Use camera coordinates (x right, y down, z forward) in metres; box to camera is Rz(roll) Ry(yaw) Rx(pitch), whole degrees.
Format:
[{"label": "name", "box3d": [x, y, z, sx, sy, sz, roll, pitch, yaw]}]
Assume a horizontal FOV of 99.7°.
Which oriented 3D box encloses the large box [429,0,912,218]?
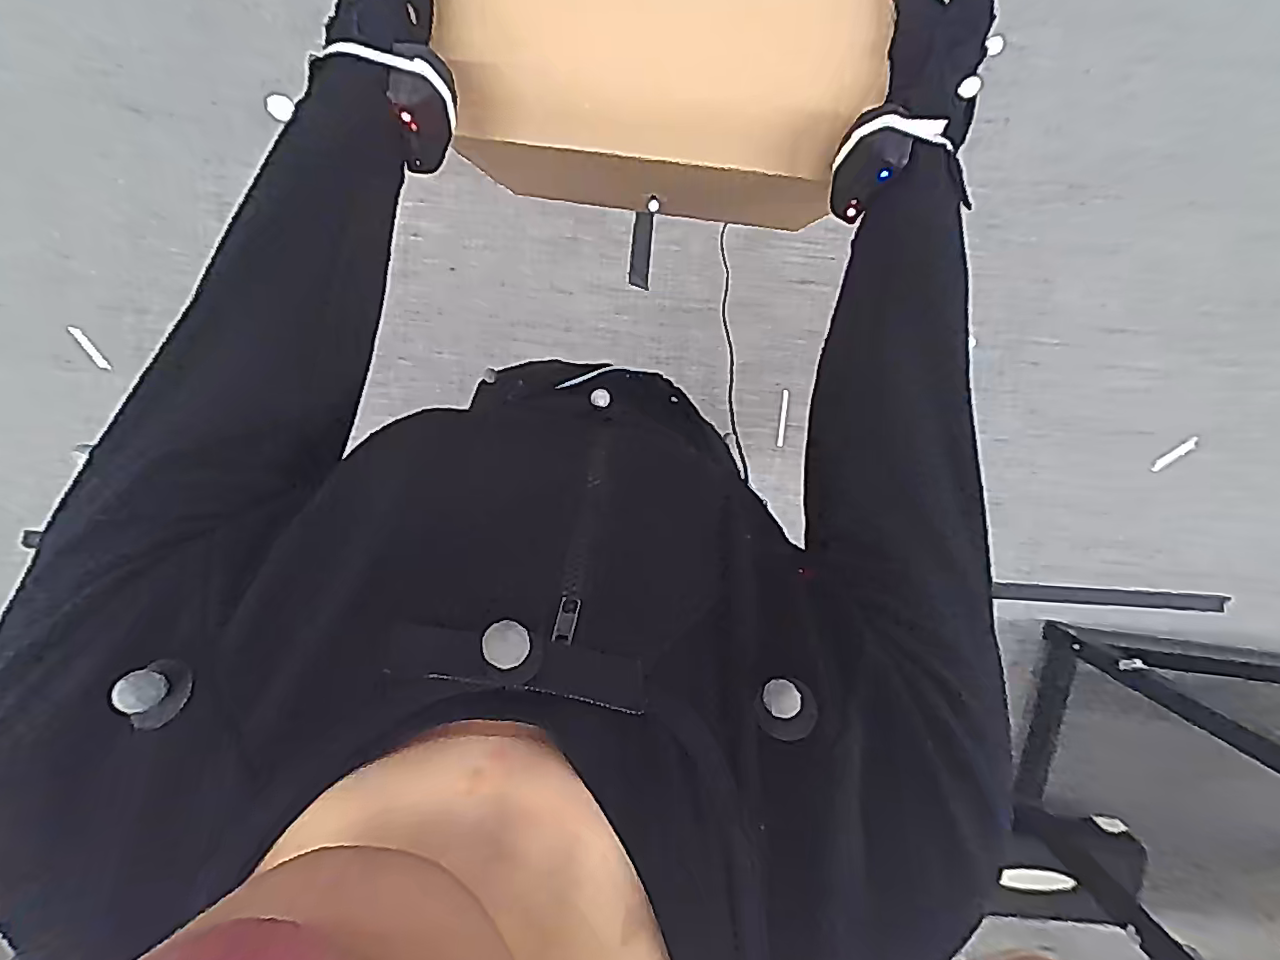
[{"label": "large box", "box3d": [0.035, -0.480, 0.573, 0.408, 0.320, 0.320, 7, 108, 0]}]
